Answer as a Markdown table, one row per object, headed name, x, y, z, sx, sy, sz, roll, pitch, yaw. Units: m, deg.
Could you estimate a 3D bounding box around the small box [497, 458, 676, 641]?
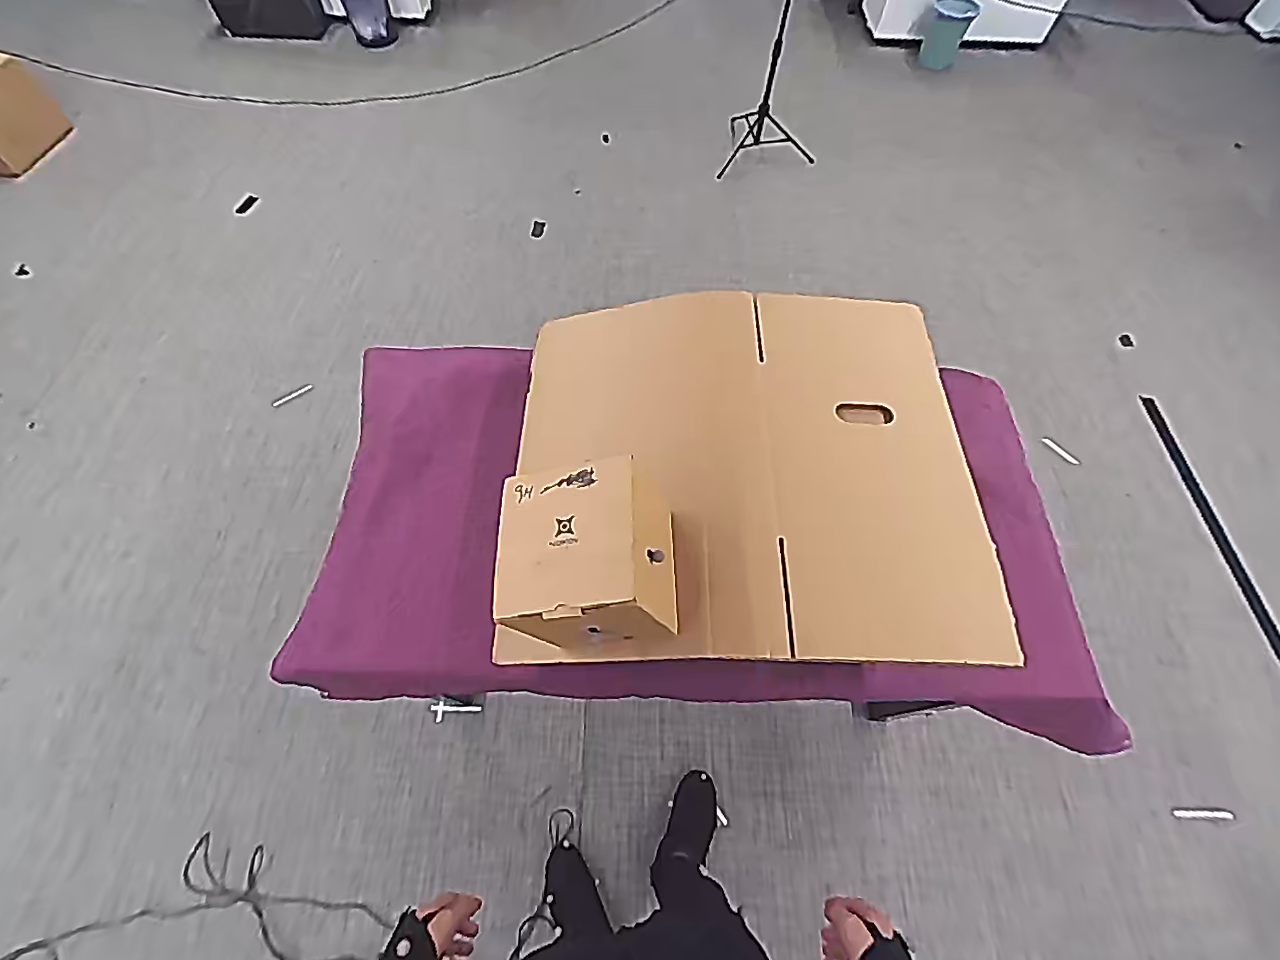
| name | x | y | z | sx | sy | sz | roll | pitch | yaw |
| --- | --- | --- | --- | --- | --- | --- | --- | --- | --- |
| small box | -0.056 | 0.097 | 0.670 | 0.168 | 0.176 | 0.179 | -10 | 62 | 15 |
